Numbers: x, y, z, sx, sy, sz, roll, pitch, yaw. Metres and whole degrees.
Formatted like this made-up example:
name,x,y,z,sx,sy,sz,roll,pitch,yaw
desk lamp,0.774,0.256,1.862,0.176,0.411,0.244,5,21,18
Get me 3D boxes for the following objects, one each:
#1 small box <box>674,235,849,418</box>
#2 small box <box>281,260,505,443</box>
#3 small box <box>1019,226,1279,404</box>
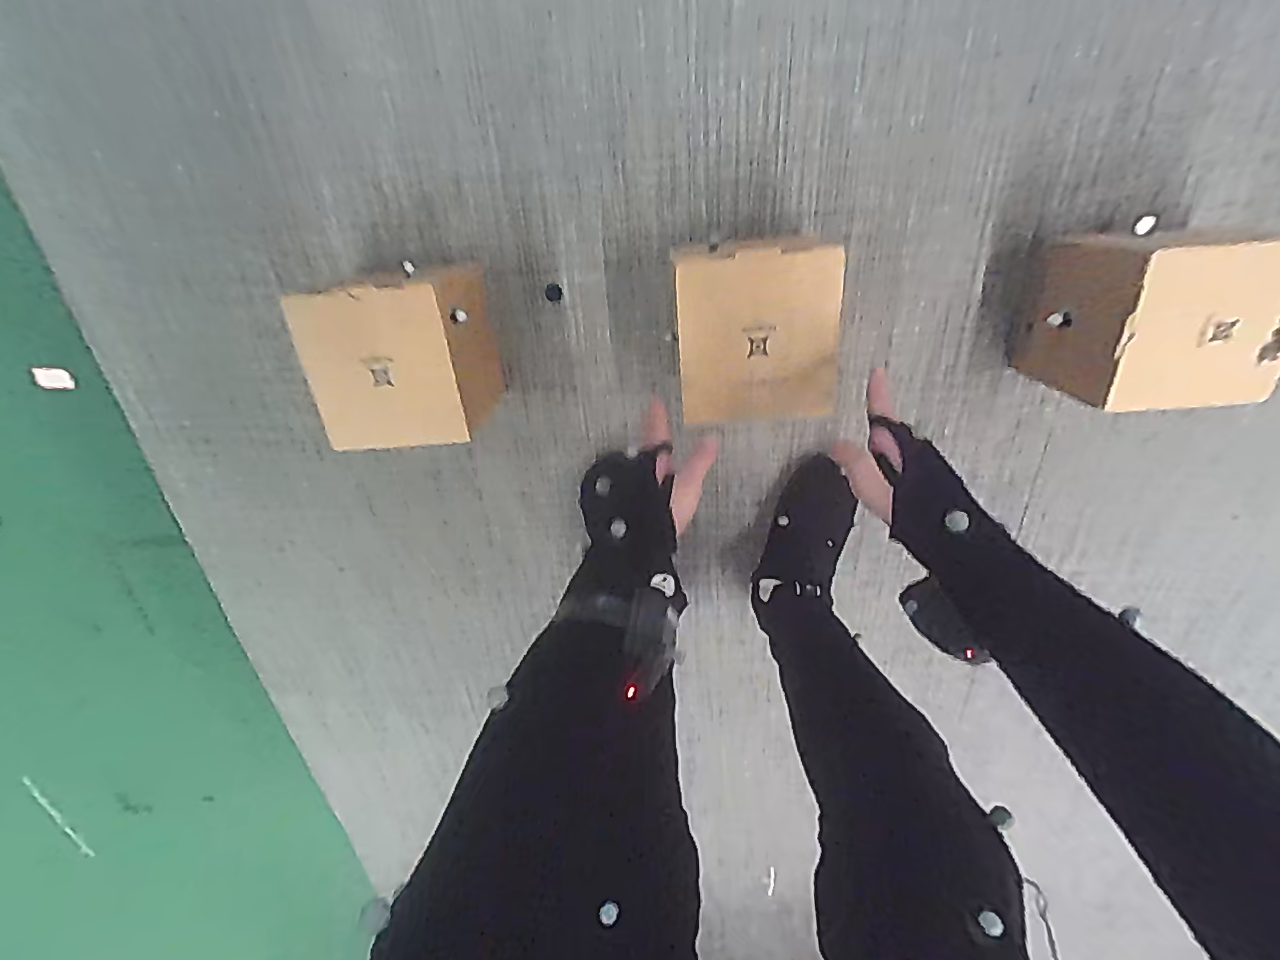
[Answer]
name,x,y,z,sx,sy,sz,roll,pitch,yaw
small box,0.126,-0.185,0.626,0.168,0.176,0.179,-3,117,3
small box,-0.273,-0.158,0.648,0.168,0.176,0.179,-4,116,3
small box,0.578,-0.192,0.612,0.179,0.176,0.168,-2,117,3
